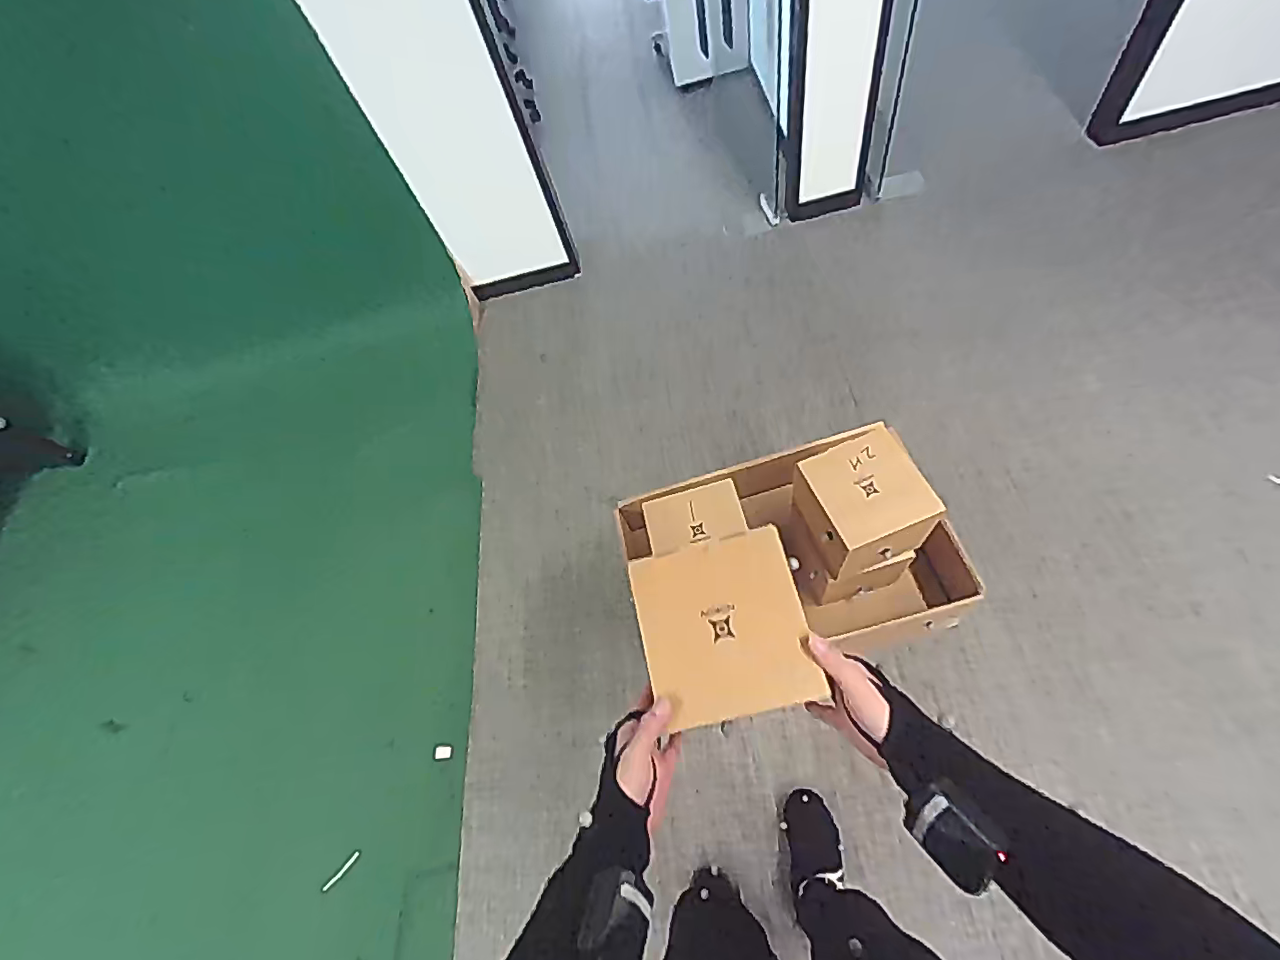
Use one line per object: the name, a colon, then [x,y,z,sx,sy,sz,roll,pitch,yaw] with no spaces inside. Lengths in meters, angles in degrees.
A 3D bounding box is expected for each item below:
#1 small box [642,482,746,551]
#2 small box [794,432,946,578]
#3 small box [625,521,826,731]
small box: [0.113,0.133,0.952,0.168,0.176,0.179,-15,58,5]
small box: [0.382,0.054,0.932,0.168,0.176,0.179,-22,60,0]
small box: [0.093,0.169,0.607,0.168,0.176,0.179,-15,64,5]
